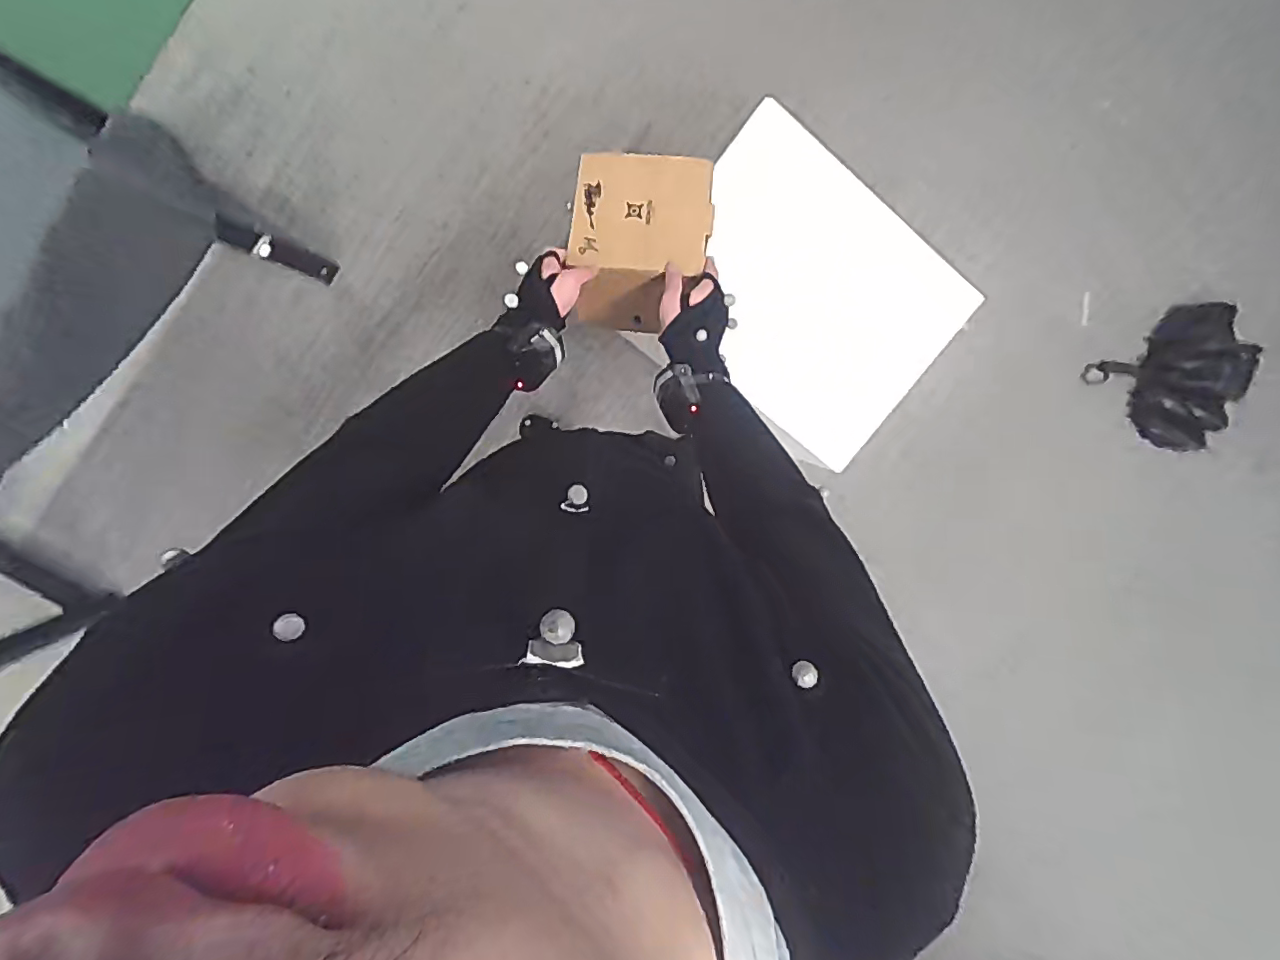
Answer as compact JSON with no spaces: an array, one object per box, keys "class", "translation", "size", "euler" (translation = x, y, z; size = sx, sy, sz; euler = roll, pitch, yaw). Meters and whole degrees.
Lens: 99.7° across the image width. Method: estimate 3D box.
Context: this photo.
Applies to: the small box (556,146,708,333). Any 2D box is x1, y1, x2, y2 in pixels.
[{"class":"small box","translation":[-0.010,-0.318,0.745],"size":[0.179,0.176,0.168],"euler":[5,78,0]}]
